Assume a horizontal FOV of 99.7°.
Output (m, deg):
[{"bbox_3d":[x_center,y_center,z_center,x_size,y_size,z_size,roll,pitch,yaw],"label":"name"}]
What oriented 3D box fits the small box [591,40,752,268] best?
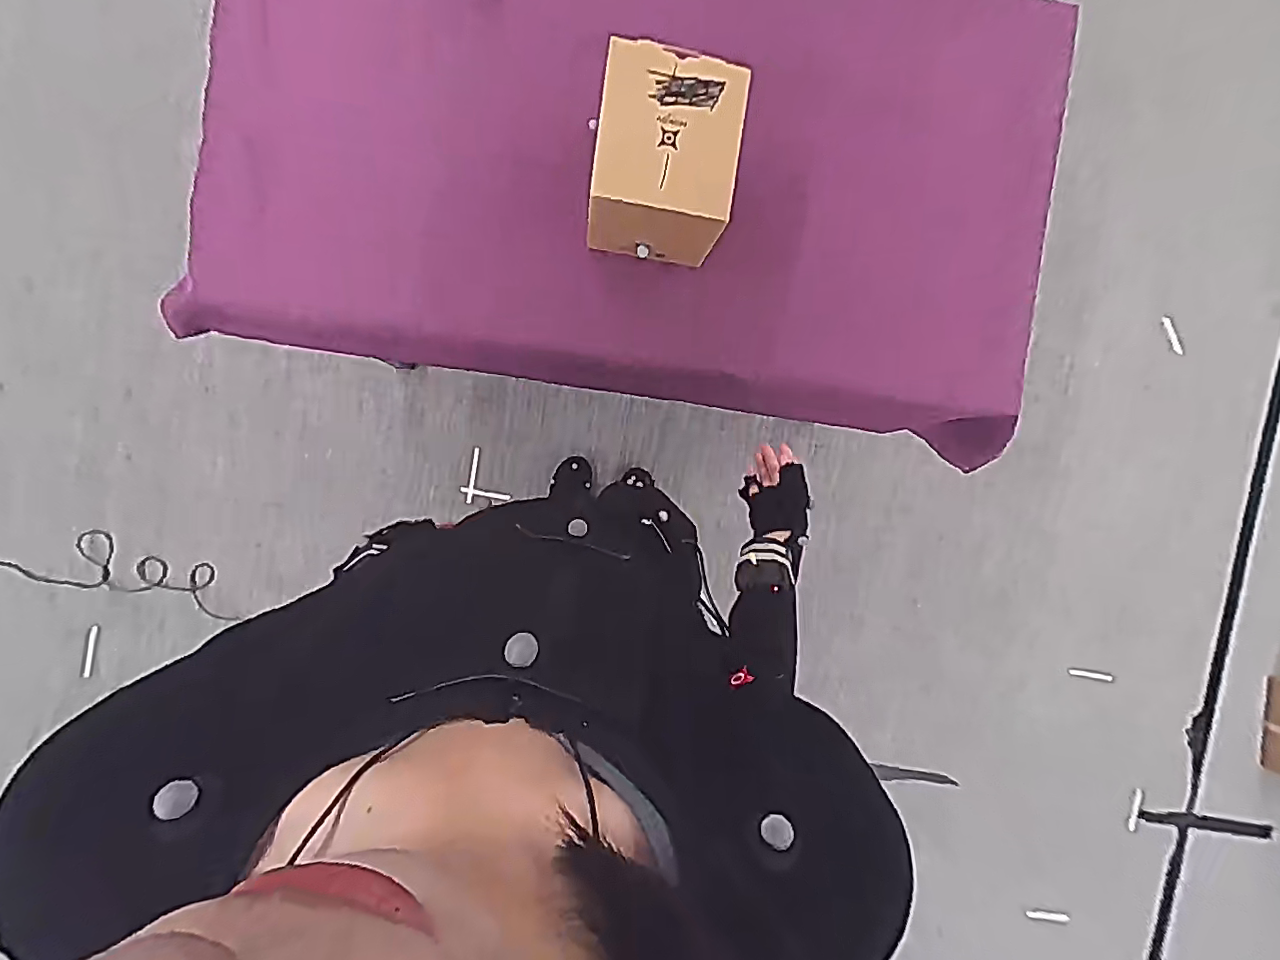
[{"bbox_3d":[0.029,-0.400,0.696,0.168,0.176,0.179,8,92,-6],"label":"small box"}]
